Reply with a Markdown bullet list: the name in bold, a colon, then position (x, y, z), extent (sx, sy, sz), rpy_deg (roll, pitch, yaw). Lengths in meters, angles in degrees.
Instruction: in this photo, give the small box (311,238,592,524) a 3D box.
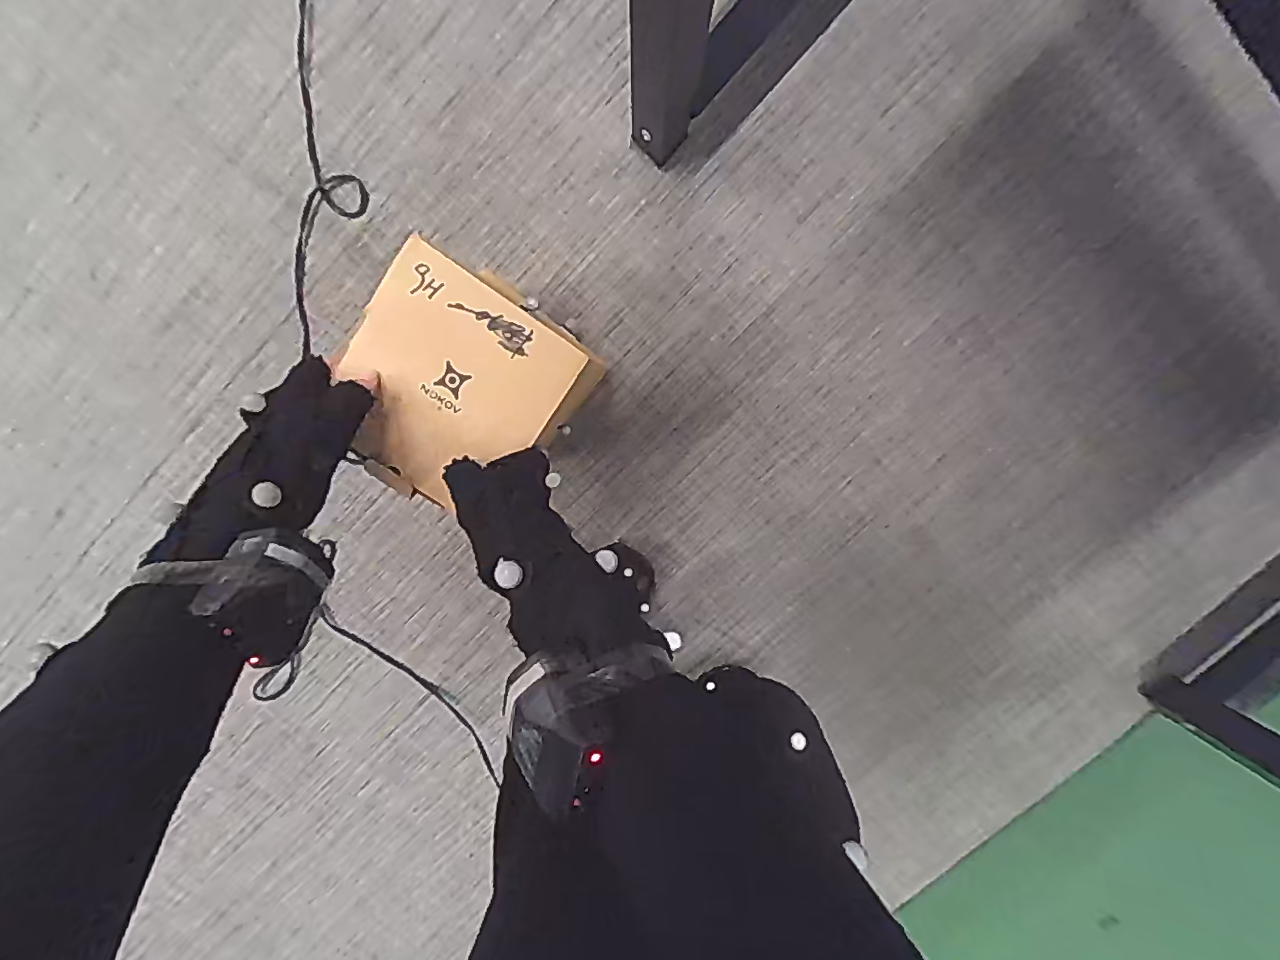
- **small box**: position (-0.158, -0.087, 0.516), extent (0.168, 0.176, 0.179), rpy_deg (31, 98, -5)
